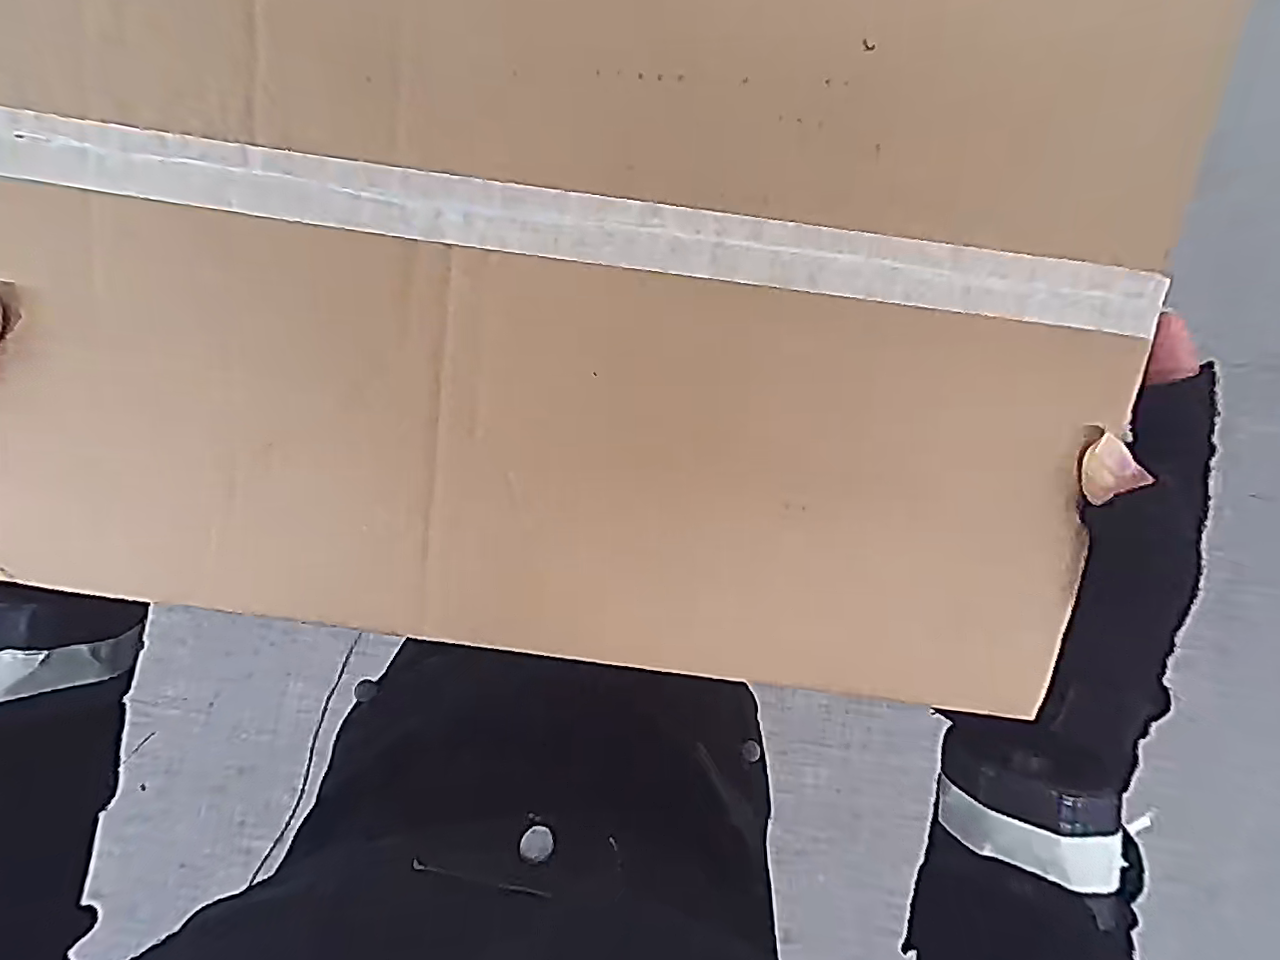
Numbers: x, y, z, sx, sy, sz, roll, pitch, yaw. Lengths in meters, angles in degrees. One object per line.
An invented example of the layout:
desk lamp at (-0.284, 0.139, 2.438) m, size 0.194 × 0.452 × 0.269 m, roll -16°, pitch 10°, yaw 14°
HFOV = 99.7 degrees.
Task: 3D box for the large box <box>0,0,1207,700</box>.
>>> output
large box at (-0.024, -0.106, 0.340) m, size 0.408 × 0.320 × 0.320 m, roll 8°, pitch 100°, yaw -1°
